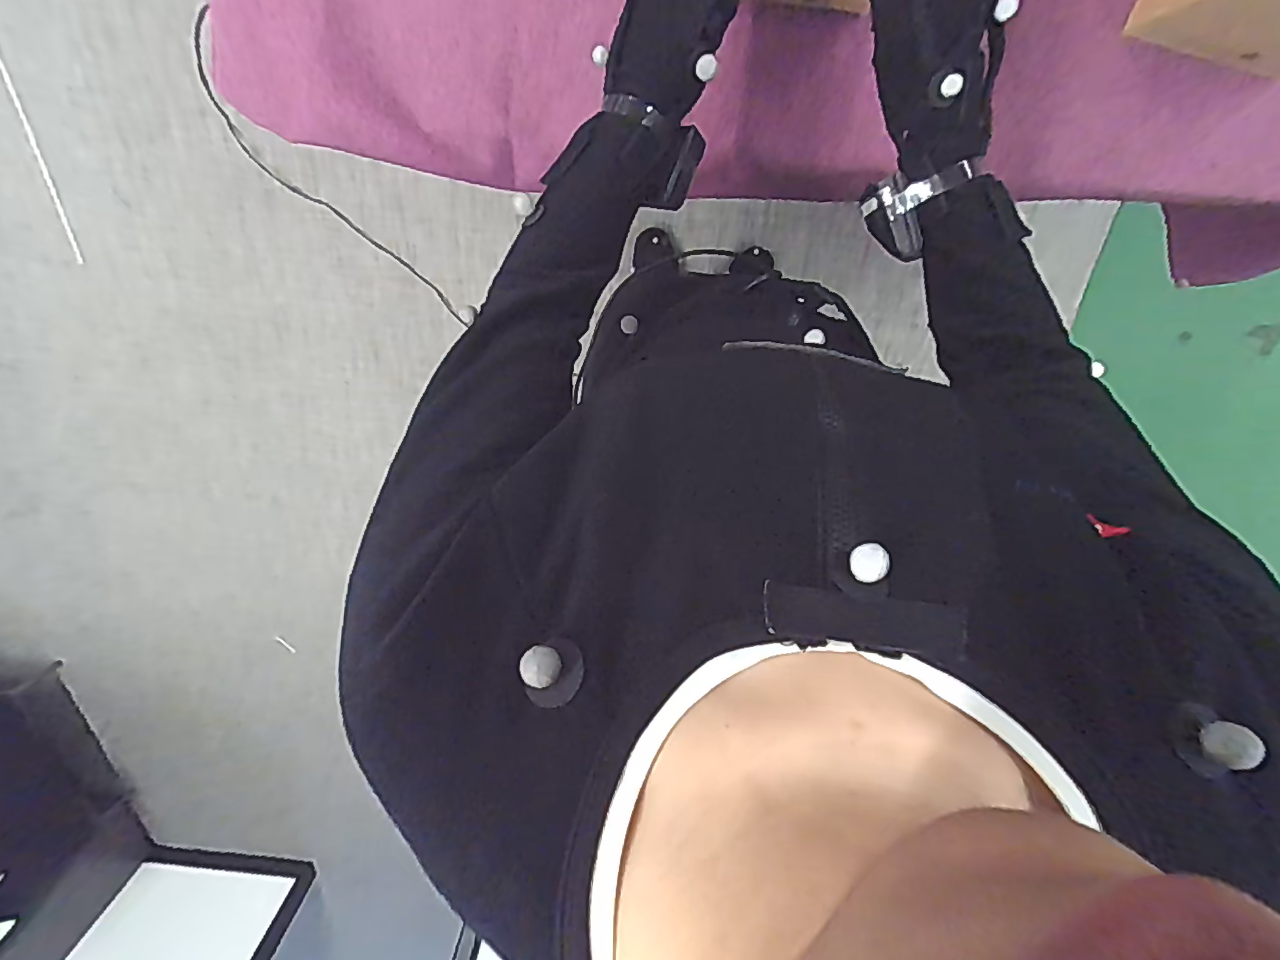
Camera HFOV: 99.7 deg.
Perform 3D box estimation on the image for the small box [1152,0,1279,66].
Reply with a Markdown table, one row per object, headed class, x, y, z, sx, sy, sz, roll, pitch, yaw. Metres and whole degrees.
| class | x | y | z | sx | sy | sz | roll | pitch | yaw |
| --- | --- | --- | --- | --- | --- | --- | --- | --- | --- |
| small box | 0.546 | -0.441 | 0.397 | 0.168 | 0.176 | 0.179 | 14 | 117 | -2 |
